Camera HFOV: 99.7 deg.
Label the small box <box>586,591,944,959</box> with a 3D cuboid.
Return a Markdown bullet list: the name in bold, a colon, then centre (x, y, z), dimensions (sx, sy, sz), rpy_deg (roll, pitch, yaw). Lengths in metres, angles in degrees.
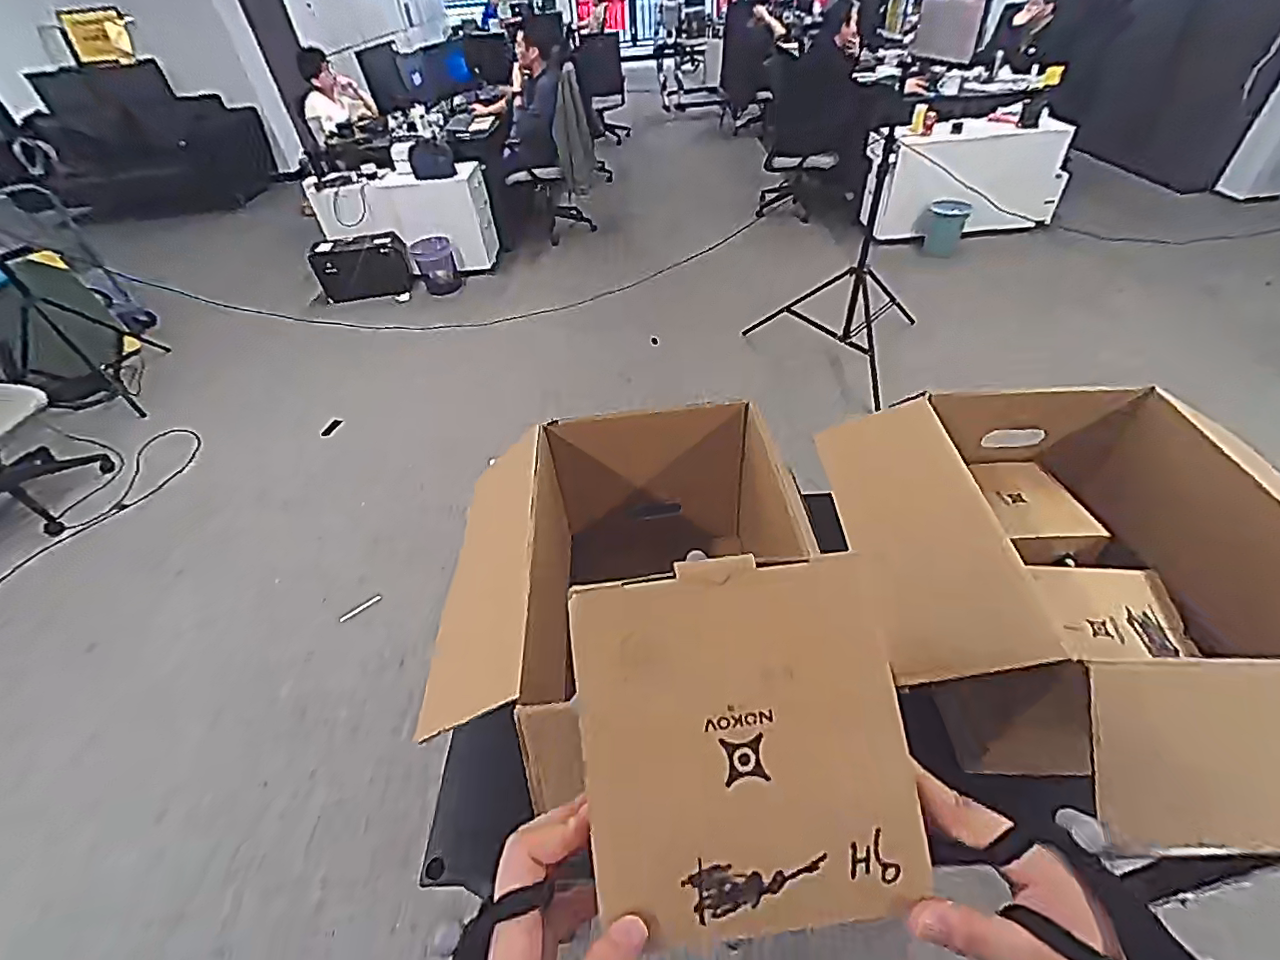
- **small box**: centre (0.058, 0.172, 0.358), dimensions (0.168, 0.176, 0.179), rpy_deg (-7, 79, -2)
